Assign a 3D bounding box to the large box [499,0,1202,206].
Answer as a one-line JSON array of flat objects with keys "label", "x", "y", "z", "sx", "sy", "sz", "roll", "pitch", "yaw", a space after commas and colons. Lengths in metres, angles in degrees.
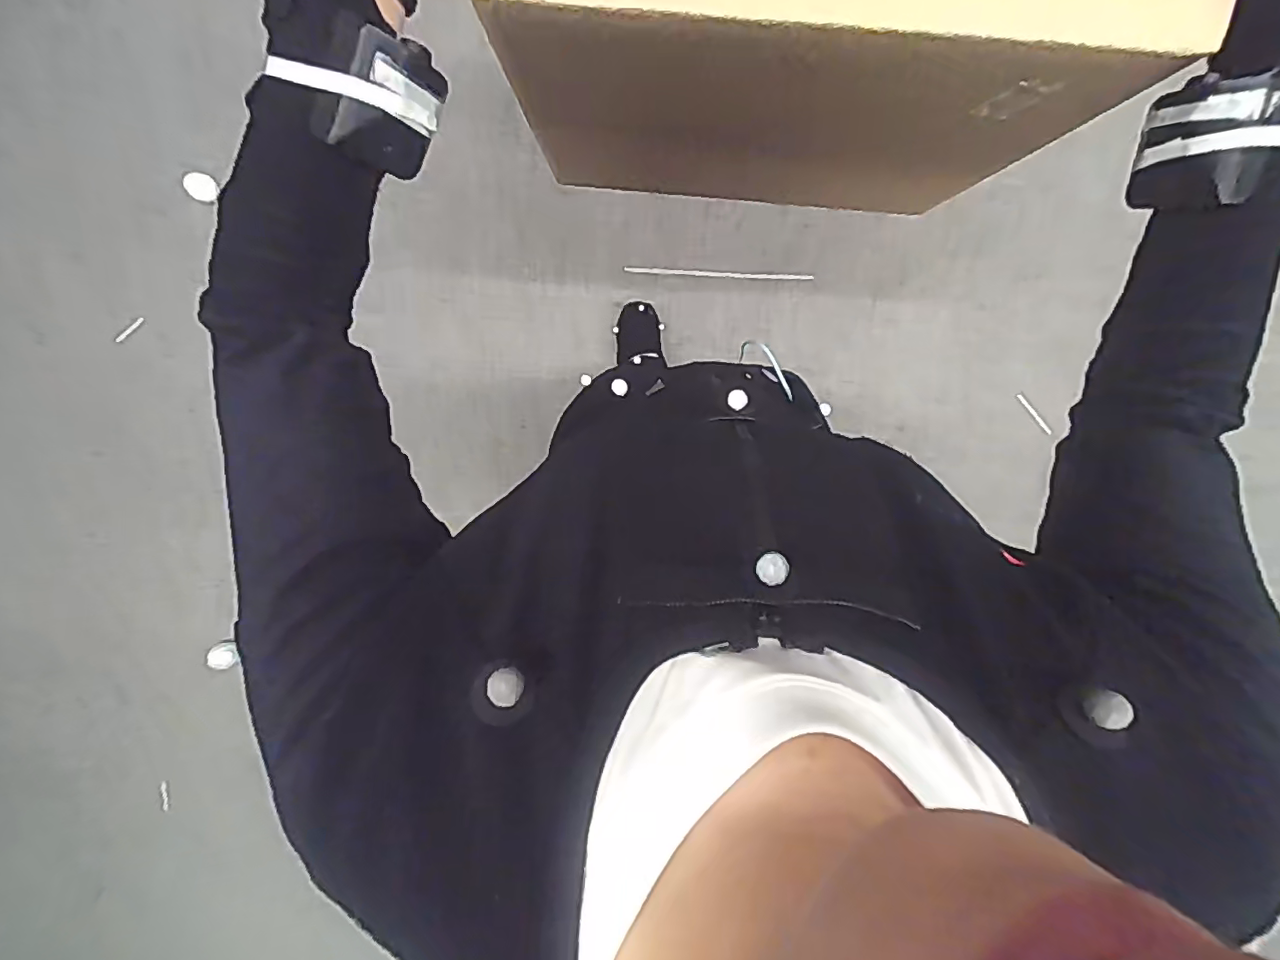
[{"label": "large box", "x": 0.119, "y": -0.431, "z": 0.418, "sx": 0.408, "sy": 0.320, "sz": 0.320, "roll": 4, "pitch": 102, "yaw": -2}]
